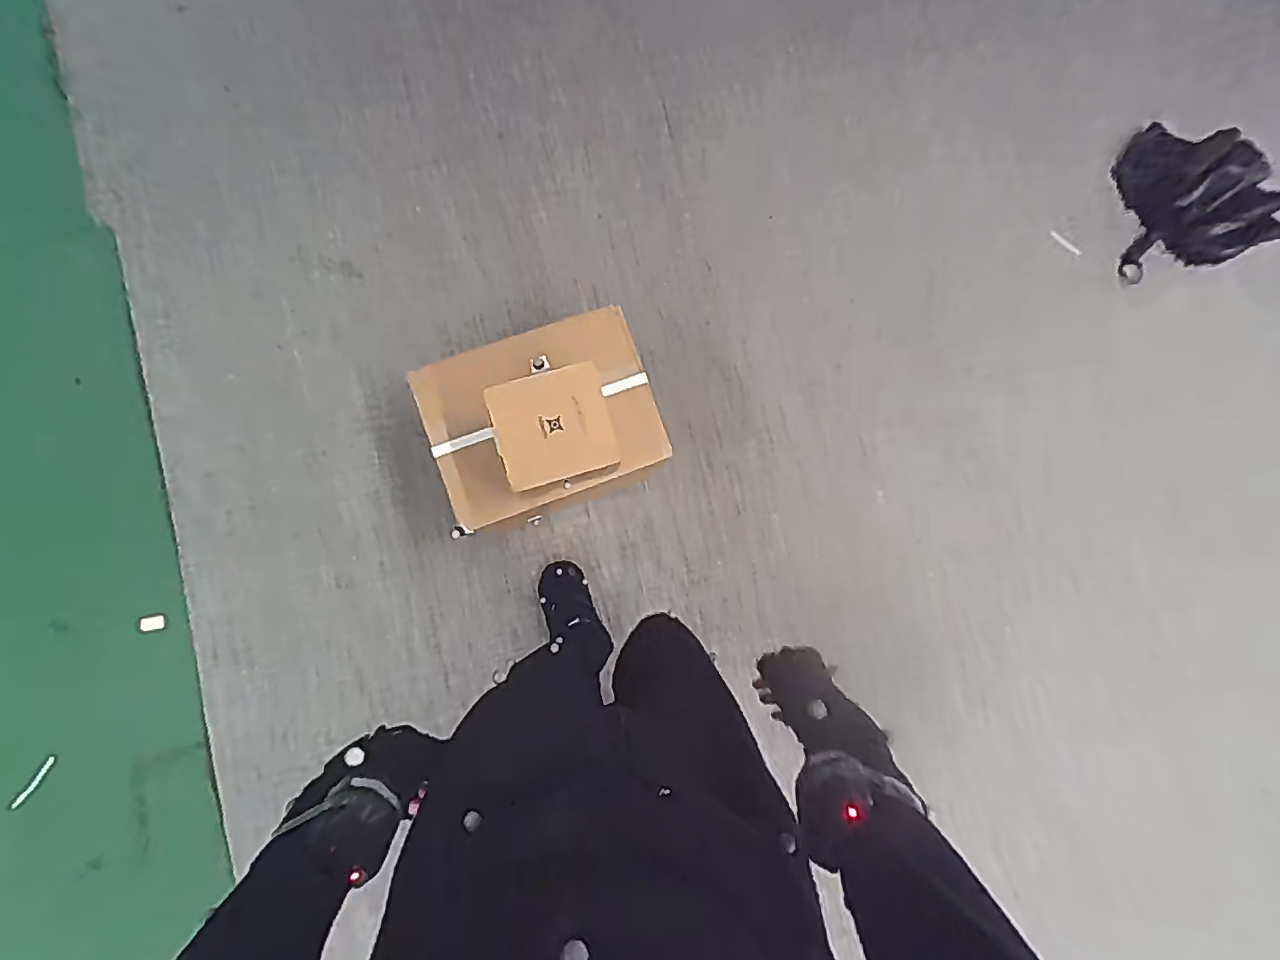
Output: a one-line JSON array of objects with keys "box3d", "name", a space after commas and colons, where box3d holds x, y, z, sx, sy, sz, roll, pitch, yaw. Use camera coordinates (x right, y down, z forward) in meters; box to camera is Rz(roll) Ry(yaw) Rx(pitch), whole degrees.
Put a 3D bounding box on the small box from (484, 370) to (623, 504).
[{"box3d": [-0.136, -0.061, 0.892, 0.179, 0.176, 0.168, -17, 88, -7], "name": "small box"}]
